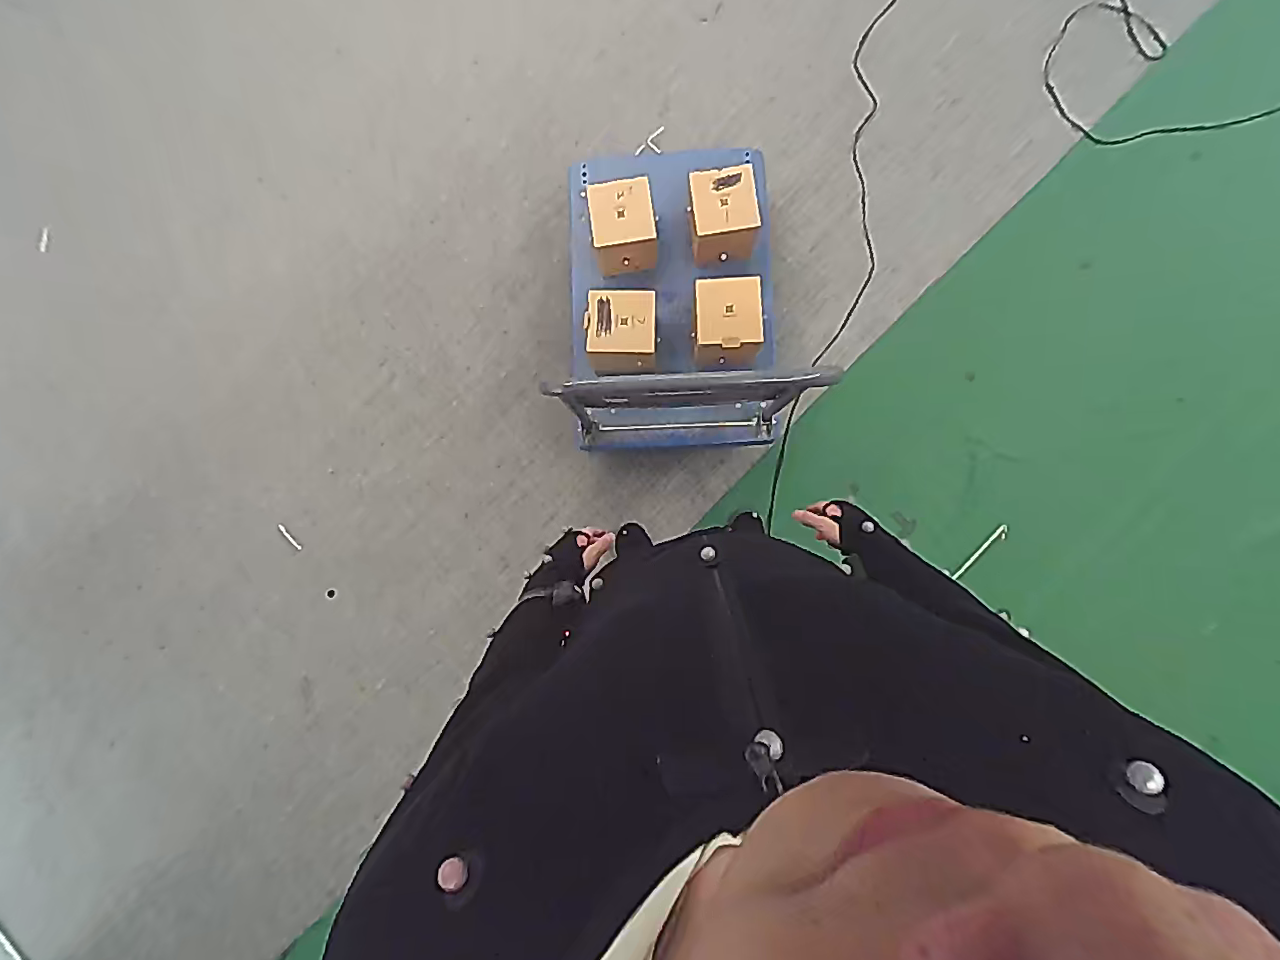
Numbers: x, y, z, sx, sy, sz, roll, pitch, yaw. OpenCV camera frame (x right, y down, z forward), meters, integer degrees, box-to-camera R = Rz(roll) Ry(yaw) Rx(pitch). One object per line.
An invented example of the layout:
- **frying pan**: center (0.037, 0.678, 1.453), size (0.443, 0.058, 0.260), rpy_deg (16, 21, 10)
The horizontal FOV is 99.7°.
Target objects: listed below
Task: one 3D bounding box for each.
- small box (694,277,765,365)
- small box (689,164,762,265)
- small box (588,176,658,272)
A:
- **small box**: center (0.232, -0.417, 1.439), size (0.168, 0.176, 0.179), rpy_deg (-2, 85, 3)
- **small box**: center (0.225, -0.712, 1.464), size (0.168, 0.176, 0.179), rpy_deg (-7, 85, 3)
- **small box**: center (-0.043, -0.687, 1.476), size (0.168, 0.176, 0.179), rpy_deg (-8, 84, 1)
